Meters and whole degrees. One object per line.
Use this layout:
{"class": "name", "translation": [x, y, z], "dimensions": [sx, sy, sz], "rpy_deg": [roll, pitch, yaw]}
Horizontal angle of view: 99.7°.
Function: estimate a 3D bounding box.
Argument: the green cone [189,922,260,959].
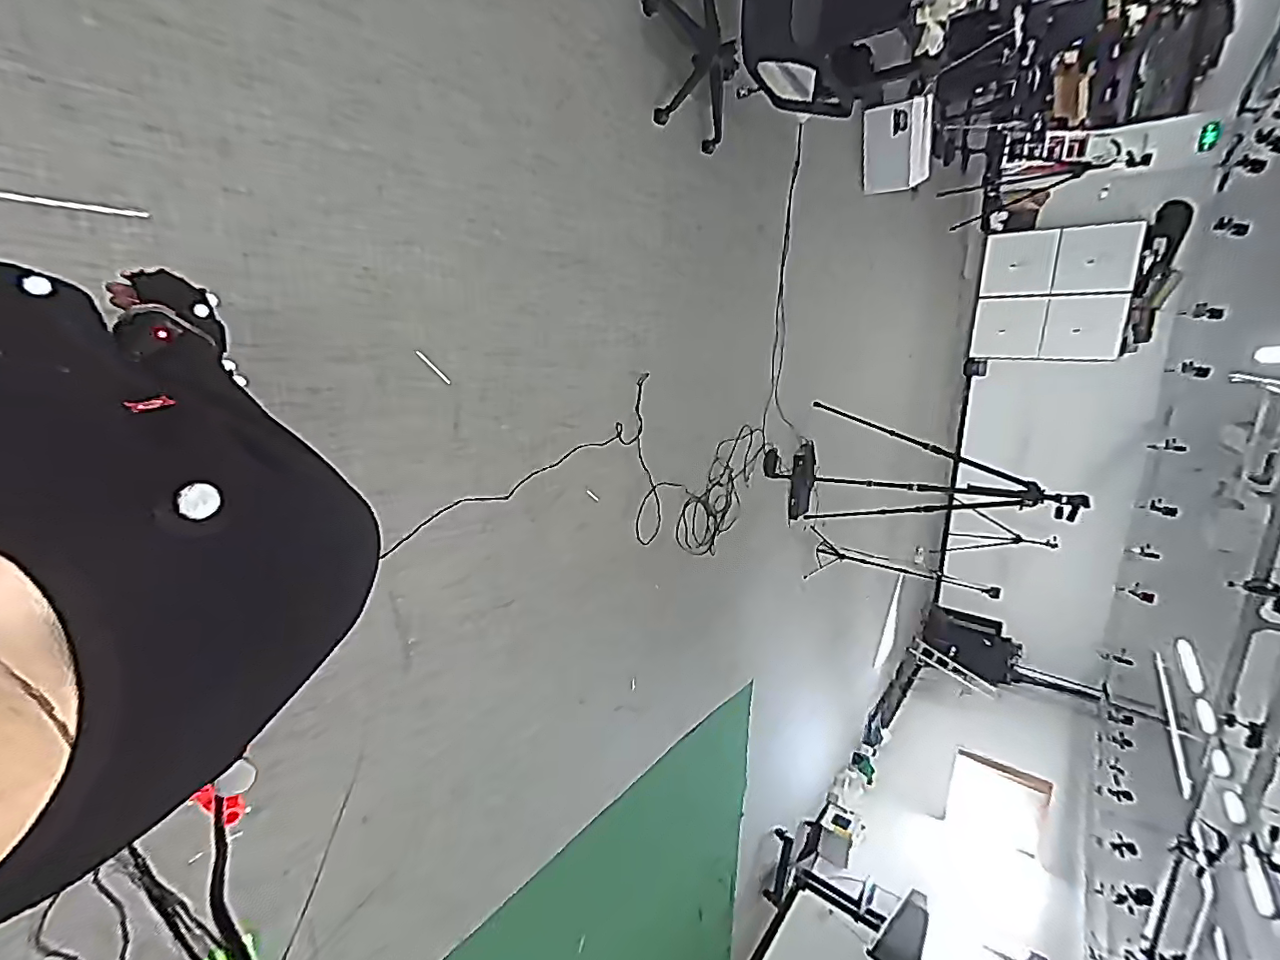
{"class": "green cone", "translation": [-1.002, 1.352, 1.340], "dimensions": [0.200, 0.368, 0.202], "rpy_deg": [-11, 107, -50]}
